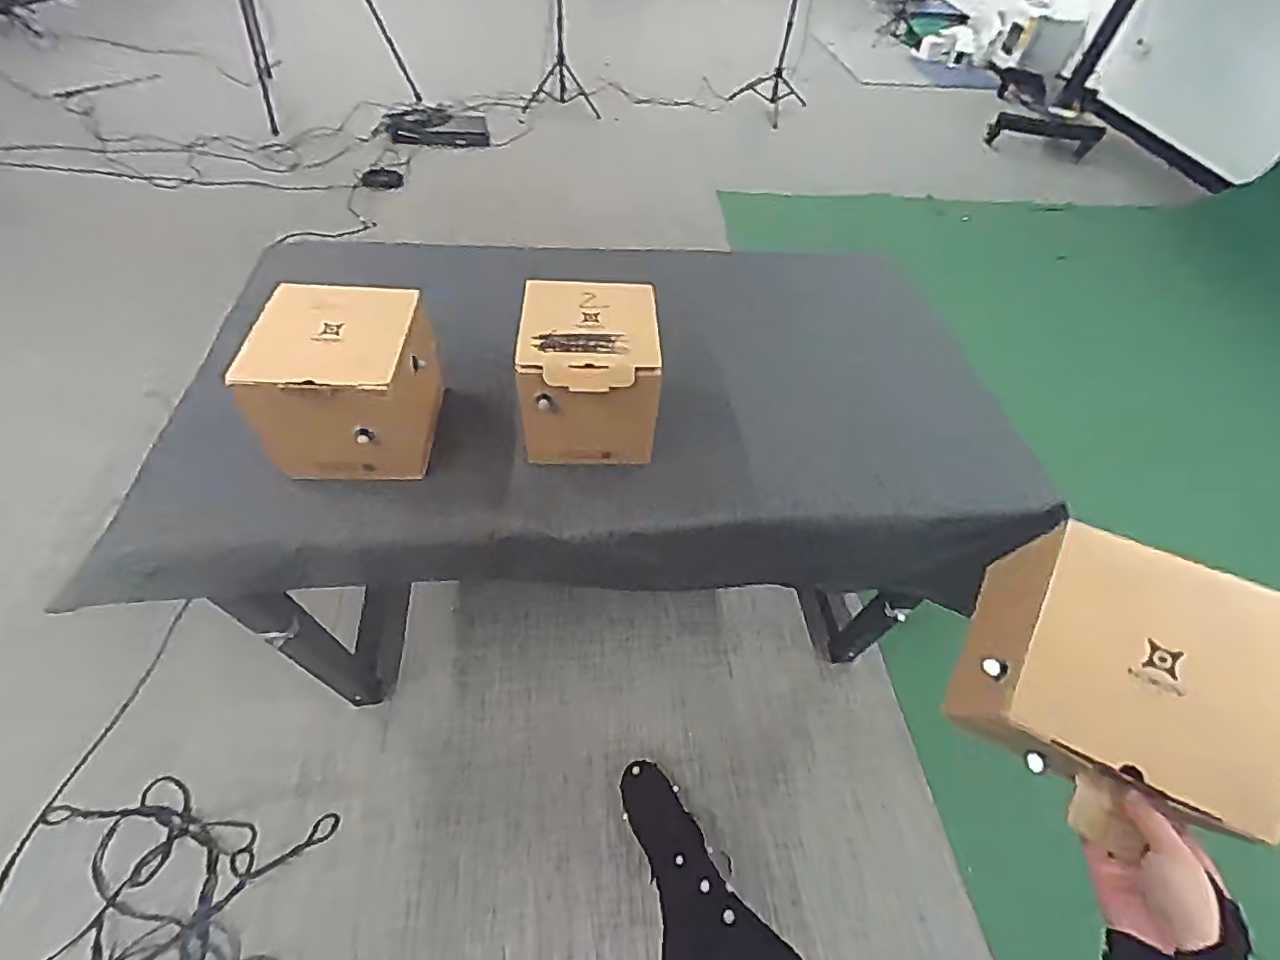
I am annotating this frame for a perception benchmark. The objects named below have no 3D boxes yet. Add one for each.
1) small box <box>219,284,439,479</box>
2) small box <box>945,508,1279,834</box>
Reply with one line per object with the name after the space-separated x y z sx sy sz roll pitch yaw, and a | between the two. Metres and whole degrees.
-0.357 -0.115 0.665 0.168 0.176 0.179 1 52 -7 | small box
0.394 0.152 0.467 0.168 0.176 0.179 23 77 18 | small box
